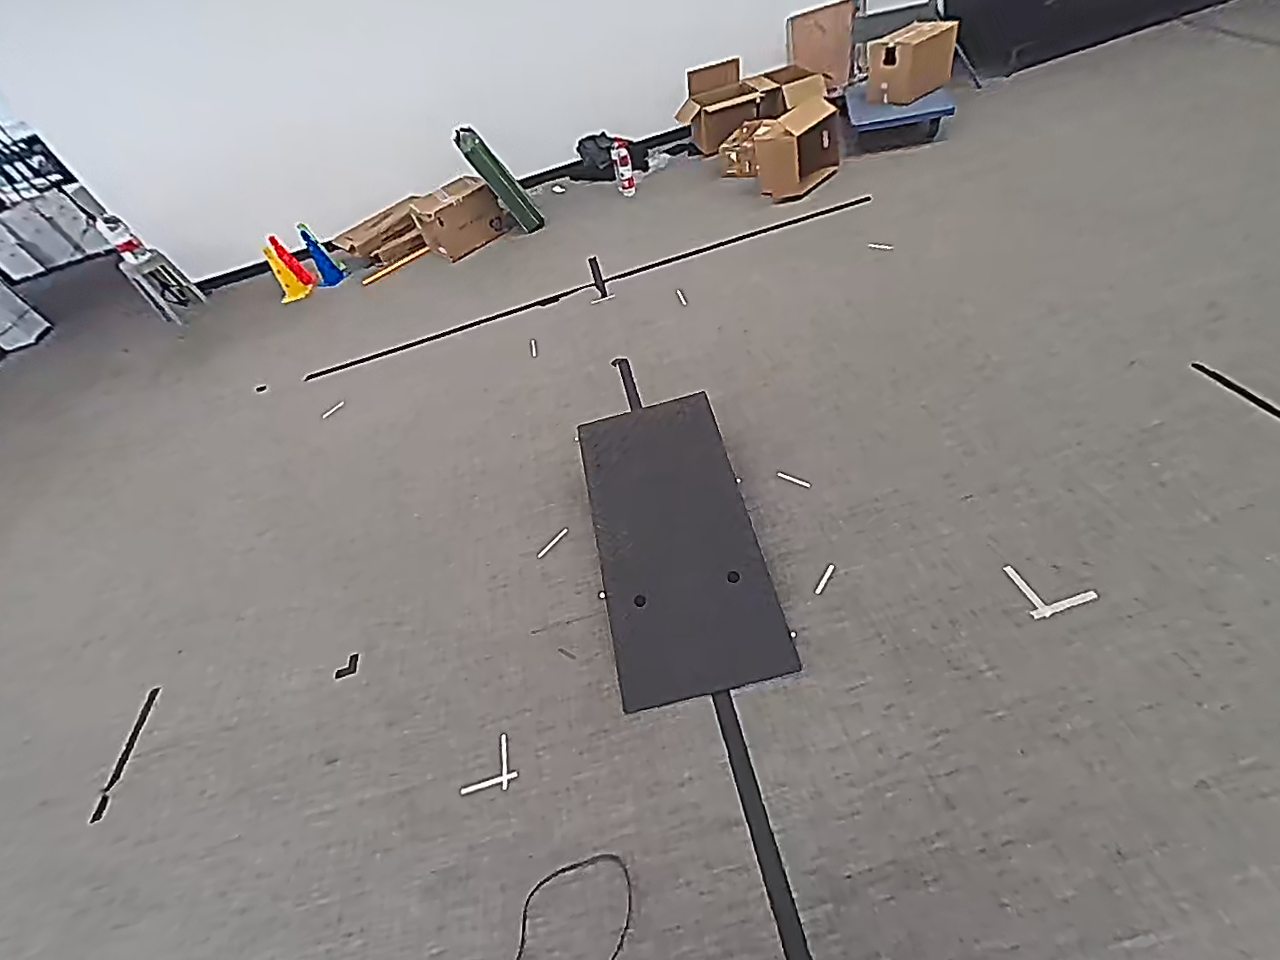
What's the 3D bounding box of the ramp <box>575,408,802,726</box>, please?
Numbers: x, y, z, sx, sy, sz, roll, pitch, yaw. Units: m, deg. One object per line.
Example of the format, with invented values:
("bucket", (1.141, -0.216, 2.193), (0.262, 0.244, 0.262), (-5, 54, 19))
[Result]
("ramp", (0.099, 0.201, 1.723), (0.509, 0.206, 0.991), (-17, 46, 0))
